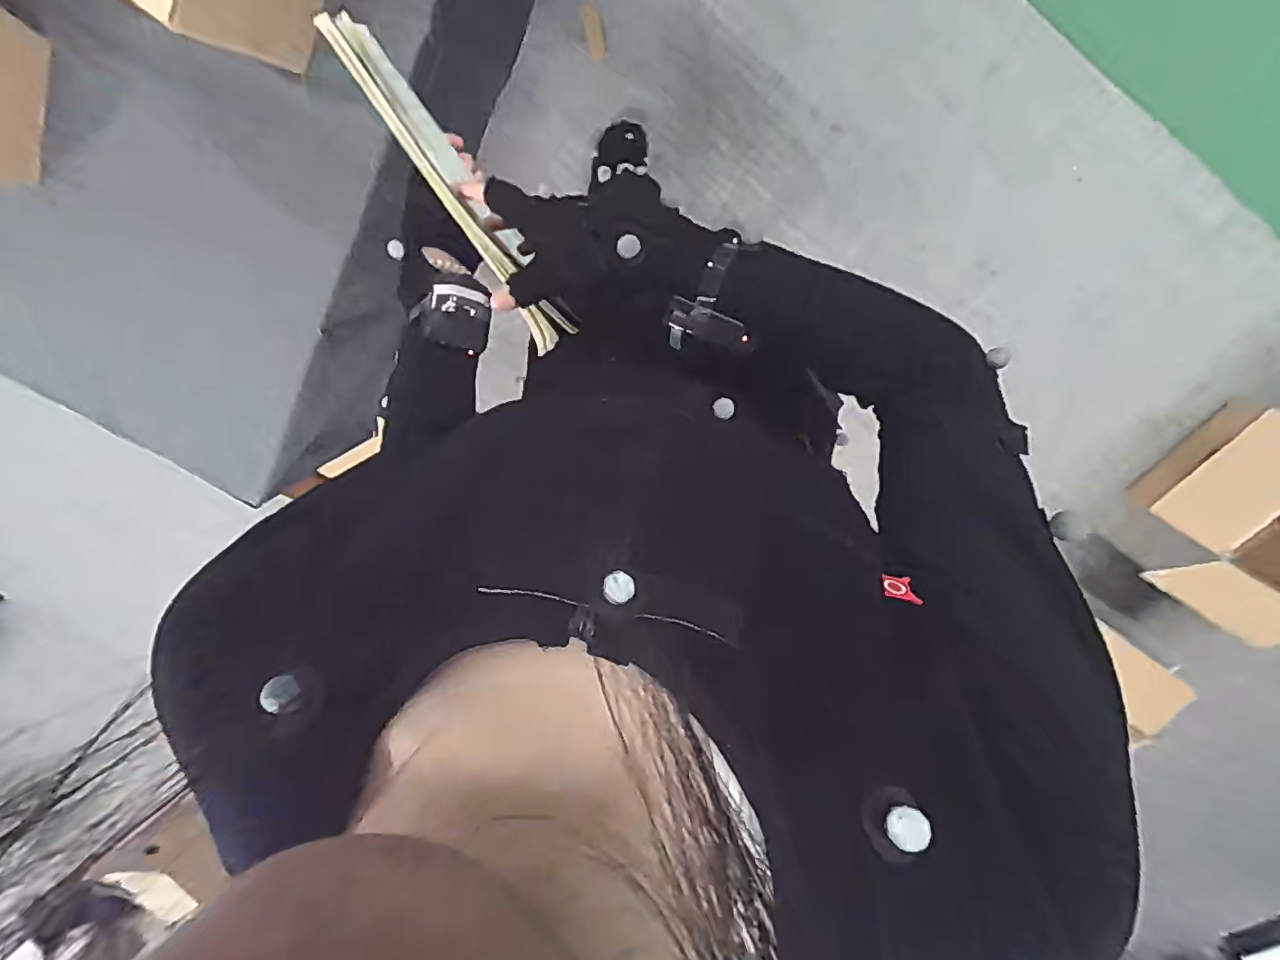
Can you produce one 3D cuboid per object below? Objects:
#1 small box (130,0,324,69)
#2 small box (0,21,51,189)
[{"bbox_3d":[-0.393,-0.510,0.468,0.168,0.176,0.179,34,116,-9],"label":"small box"},{"bbox_3d":[-0.780,-0.431,0.556,0.168,0.176,0.179,35,114,-10],"label":"small box"}]
